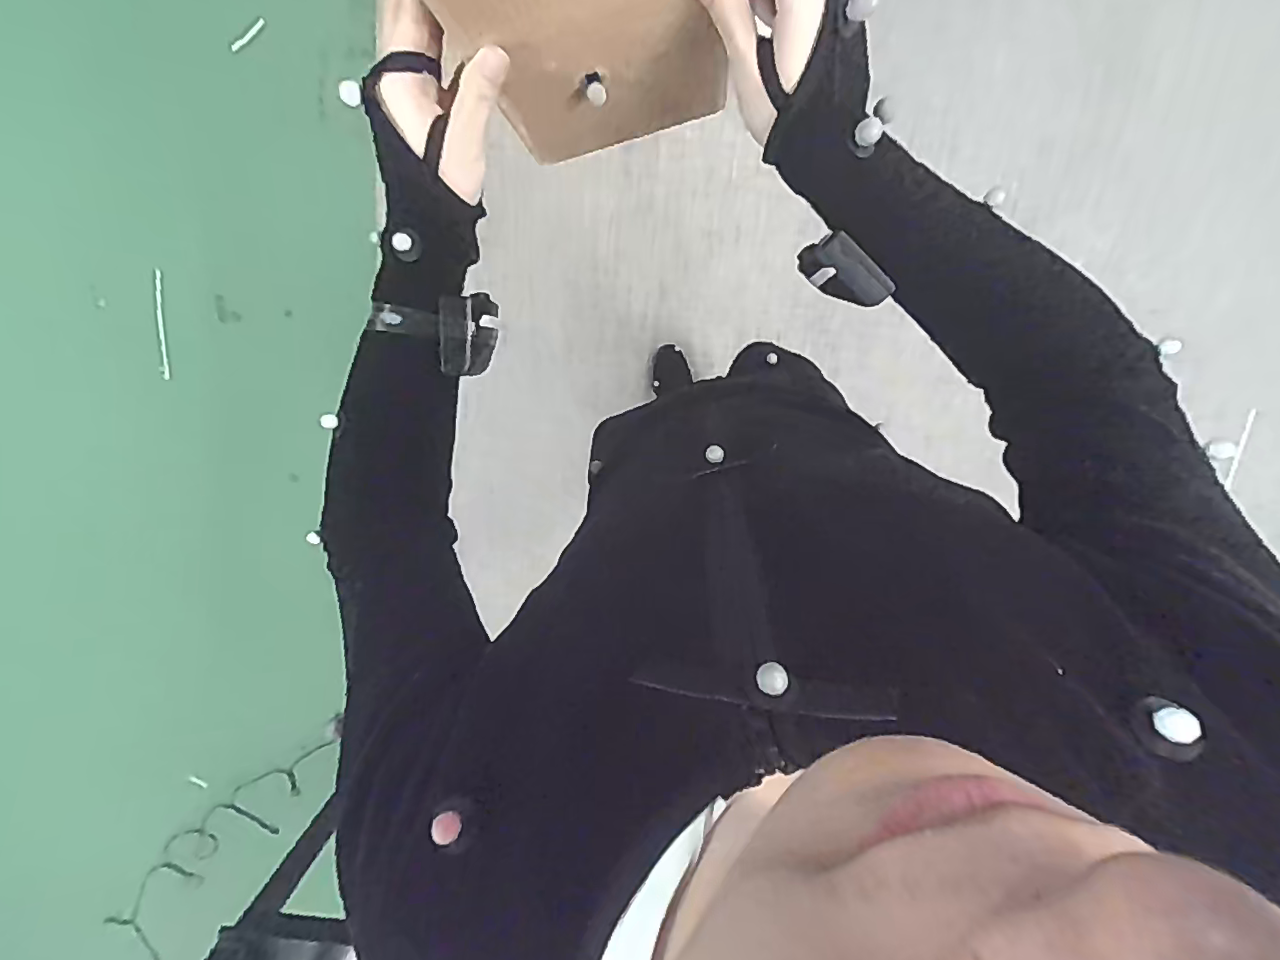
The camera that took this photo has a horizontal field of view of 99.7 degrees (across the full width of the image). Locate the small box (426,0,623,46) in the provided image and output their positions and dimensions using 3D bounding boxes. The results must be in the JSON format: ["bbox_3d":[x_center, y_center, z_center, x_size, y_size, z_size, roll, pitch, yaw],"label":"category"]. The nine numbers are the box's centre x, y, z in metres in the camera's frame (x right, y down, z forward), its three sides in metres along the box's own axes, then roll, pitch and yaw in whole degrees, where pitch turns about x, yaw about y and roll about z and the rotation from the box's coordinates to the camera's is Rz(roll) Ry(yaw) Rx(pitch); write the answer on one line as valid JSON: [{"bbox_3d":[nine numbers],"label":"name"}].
[{"bbox_3d":[-0.059,-0.348,0.239,0.179,0.176,0.168,-13,96,8],"label":"small box"}]

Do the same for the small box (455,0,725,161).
[{"bbox_3d":[-0.036,-0.371,0.398,0.179,0.176,0.168,-12,96,9],"label":"small box"}]
